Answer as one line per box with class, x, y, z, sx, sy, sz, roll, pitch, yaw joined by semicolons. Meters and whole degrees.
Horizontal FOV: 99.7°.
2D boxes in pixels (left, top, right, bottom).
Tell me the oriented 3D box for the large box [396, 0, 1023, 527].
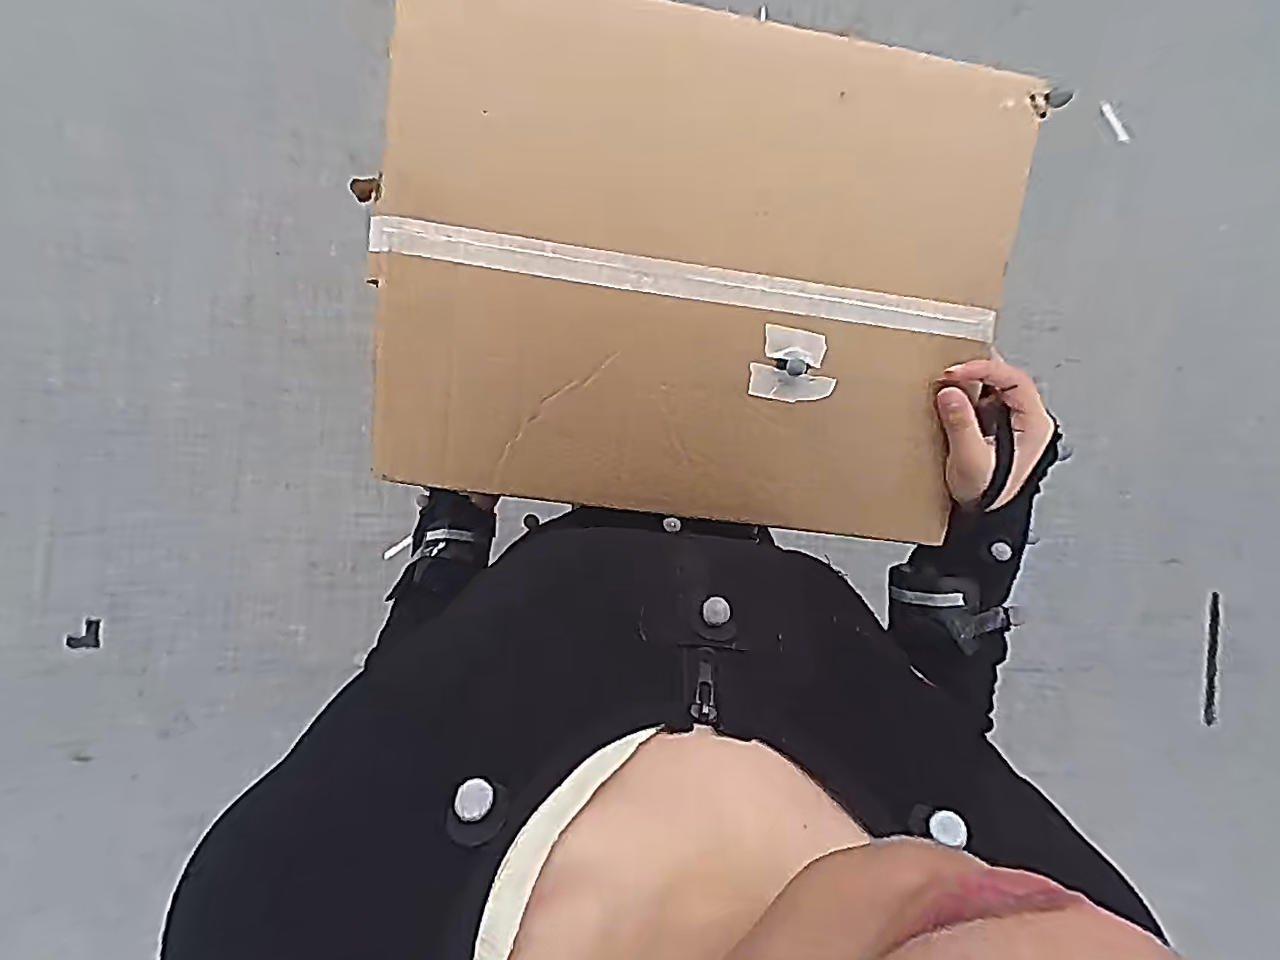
large box;0.031;-0.156;0.509;0.408;0.320;0.320;6;100;-7
